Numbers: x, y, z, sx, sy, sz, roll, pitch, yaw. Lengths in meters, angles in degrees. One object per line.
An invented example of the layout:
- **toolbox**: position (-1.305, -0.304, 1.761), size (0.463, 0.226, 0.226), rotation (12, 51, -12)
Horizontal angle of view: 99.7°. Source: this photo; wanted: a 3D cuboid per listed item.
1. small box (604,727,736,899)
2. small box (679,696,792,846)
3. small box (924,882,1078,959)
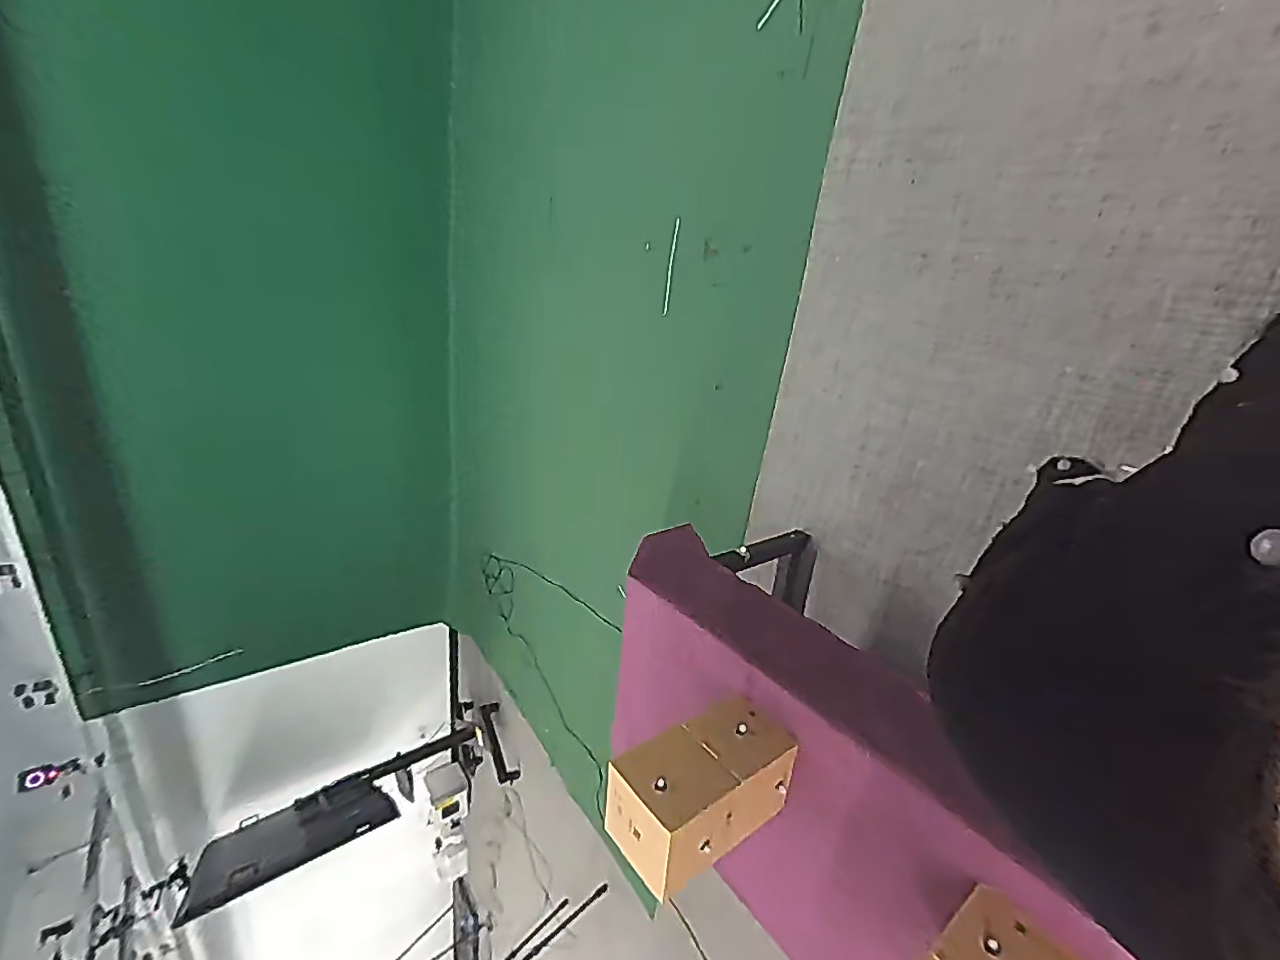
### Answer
- **small box**: position (0.054, 0.594, 0.992), size (0.179, 0.176, 0.168), rotation (26, 118, 46)
- **small box**: position (0.184, 0.573, 1.092), size (0.168, 0.176, 0.179), rotation (27, 118, 46)
- **small box**: position (0.489, 0.708, 0.733), size (0.168, 0.176, 0.179), rotation (26, 118, 48)
